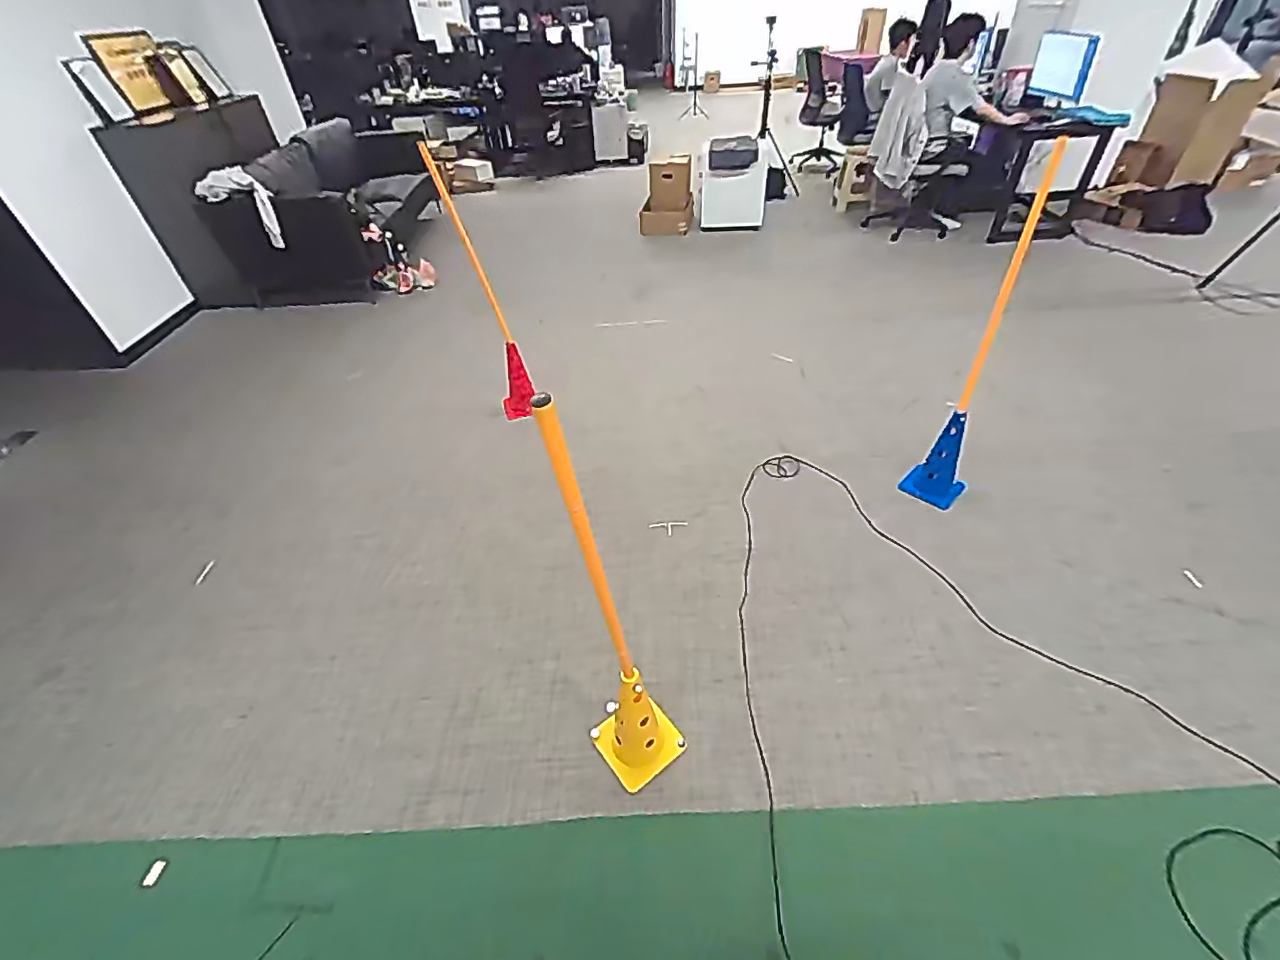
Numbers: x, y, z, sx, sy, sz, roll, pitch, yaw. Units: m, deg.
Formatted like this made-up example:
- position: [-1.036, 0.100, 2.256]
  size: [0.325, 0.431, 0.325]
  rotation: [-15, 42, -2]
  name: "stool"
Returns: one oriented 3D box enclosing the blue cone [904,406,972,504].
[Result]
- position: [1.164, -0.114, 2.050]
  size: [0.192, 0.380, 0.193]
  rotation: [31, 50, 33]
  name: "blue cone"
